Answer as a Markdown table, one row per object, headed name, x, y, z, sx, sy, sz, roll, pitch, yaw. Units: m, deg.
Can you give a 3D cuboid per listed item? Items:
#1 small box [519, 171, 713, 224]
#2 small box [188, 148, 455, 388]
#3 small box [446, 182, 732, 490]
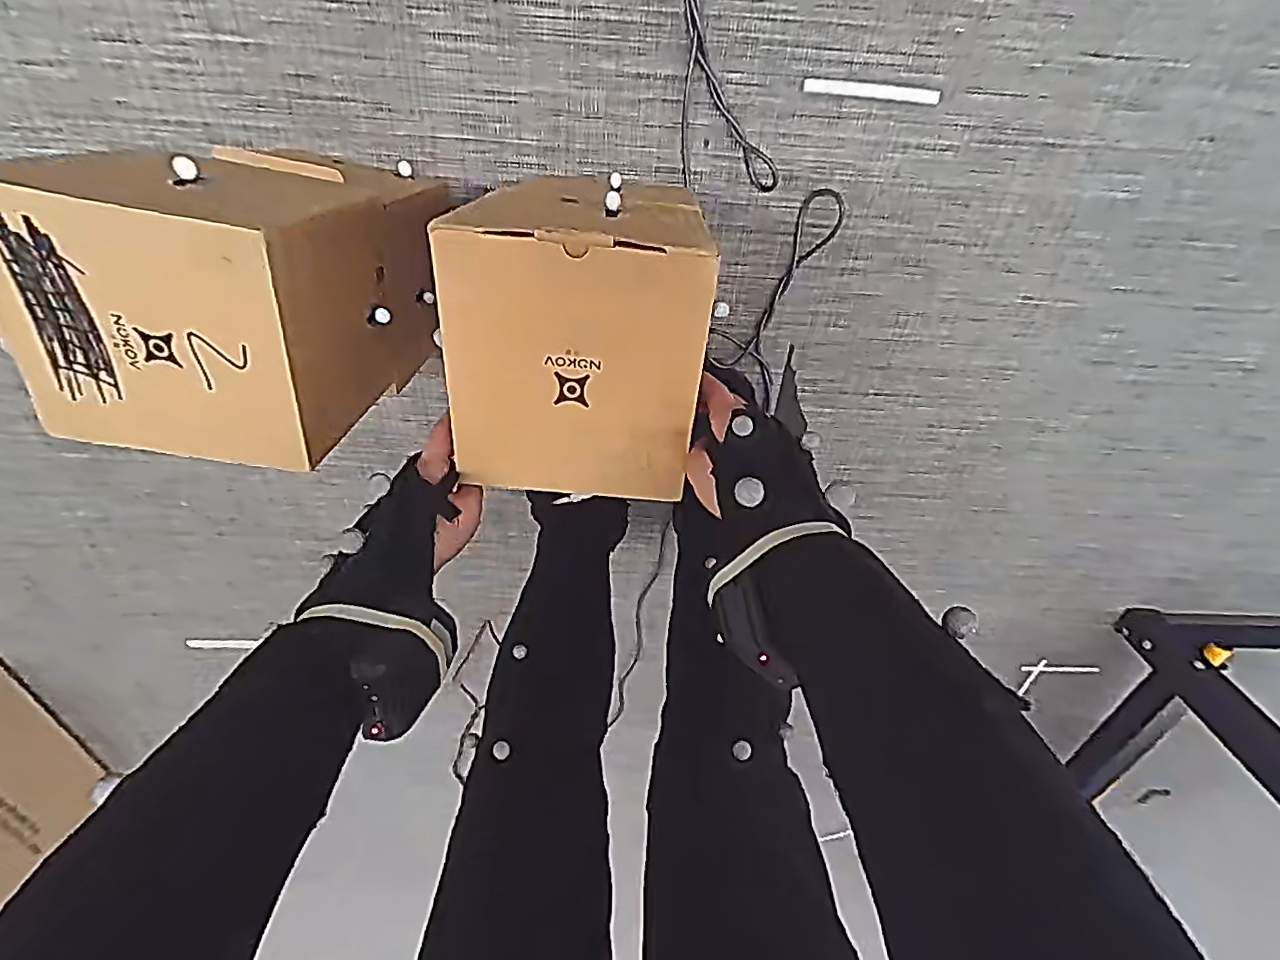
| name | x | y | z | sx | sy | sz | roll | pitch | yaw |
| --- | --- | --- | --- | --- | --- | --- | --- | --- | --- |
| small box | -0.027 | -0.205 | 0.551 | 0.168 | 0.176 | 0.179 | 6 | 124 | -1 |
| small box | -0.292 | -0.218 | 0.545 | 0.168 | 0.176 | 0.179 | 9 | 125 | -5 |
| small box | -0.033 | -0.116 | 0.415 | 0.168 | 0.176 | 0.179 | 5 | 123 | -1 |
